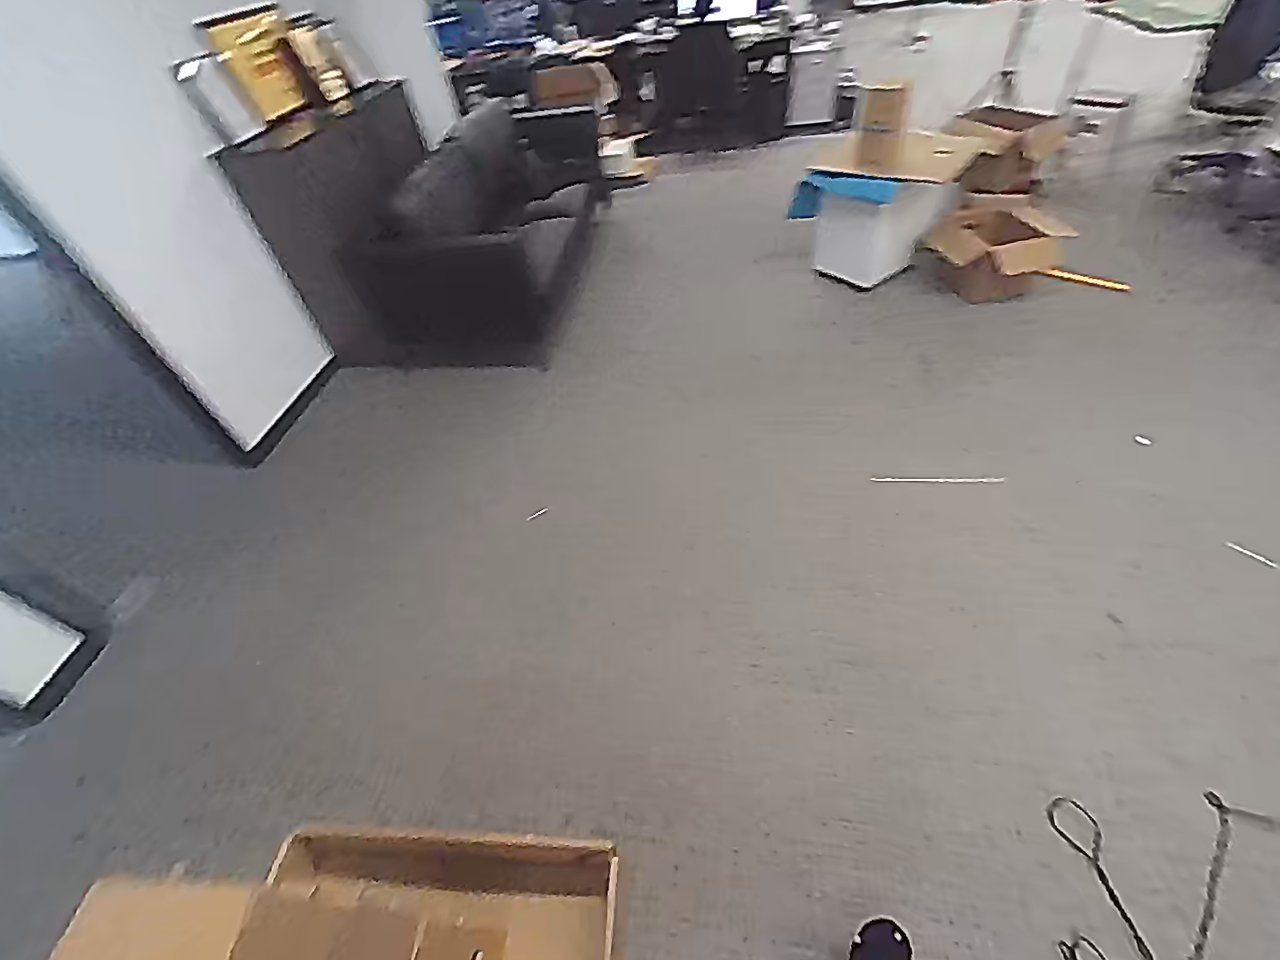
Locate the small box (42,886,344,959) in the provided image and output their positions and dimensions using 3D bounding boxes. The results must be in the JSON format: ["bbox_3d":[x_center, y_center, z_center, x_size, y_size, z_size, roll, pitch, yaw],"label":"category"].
[{"bbox_3d":[-0.416,0.481,0.486,0.179,0.176,0.168,-4,47,8],"label":"small box"}]

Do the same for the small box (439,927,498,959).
[{"bbox_3d":[-0.337,0.814,0.842,0.168,0.176,0.179,-4,46,8],"label":"small box"}]

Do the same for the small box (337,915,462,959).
[{"bbox_3d":[-0.366,0.700,0.727,0.179,0.176,0.168,-3,46,9],"label":"small box"}]
